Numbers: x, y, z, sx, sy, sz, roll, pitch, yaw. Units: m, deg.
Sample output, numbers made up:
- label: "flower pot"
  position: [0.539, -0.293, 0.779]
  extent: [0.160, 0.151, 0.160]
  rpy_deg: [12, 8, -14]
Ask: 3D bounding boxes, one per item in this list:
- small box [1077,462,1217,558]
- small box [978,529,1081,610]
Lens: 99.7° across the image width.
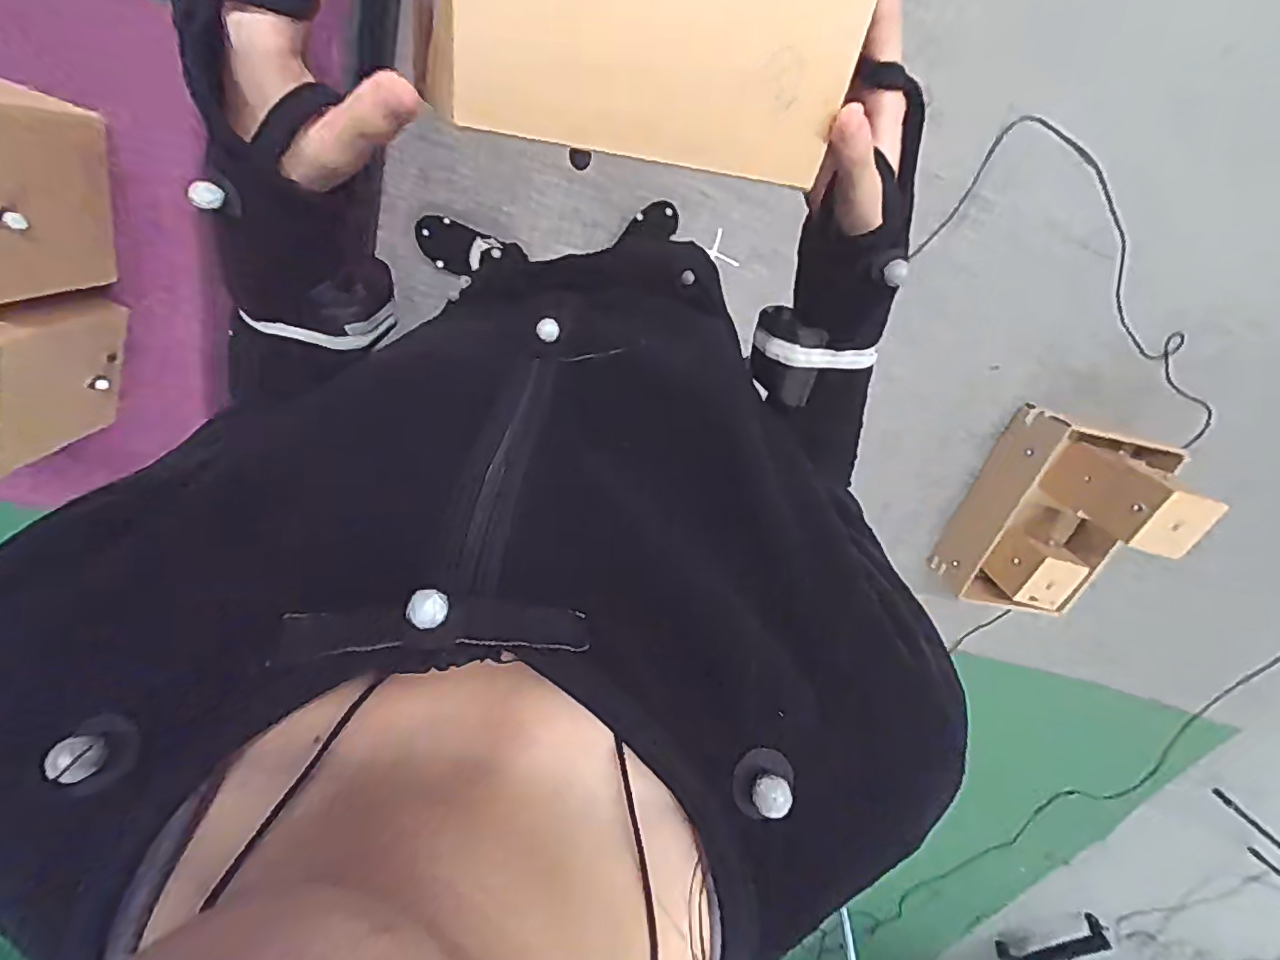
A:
- label: "small box"
  position: [1.330, 0.075, 1.436]
  extent: [0.168, 0.176, 0.179]
  rpy_deg: [15, 118, -9]
- label: "small box"
  position: [1.233, 0.282, 1.729]
  extent: [0.168, 0.176, 0.179]
  rpy_deg: [15, 116, -11]
